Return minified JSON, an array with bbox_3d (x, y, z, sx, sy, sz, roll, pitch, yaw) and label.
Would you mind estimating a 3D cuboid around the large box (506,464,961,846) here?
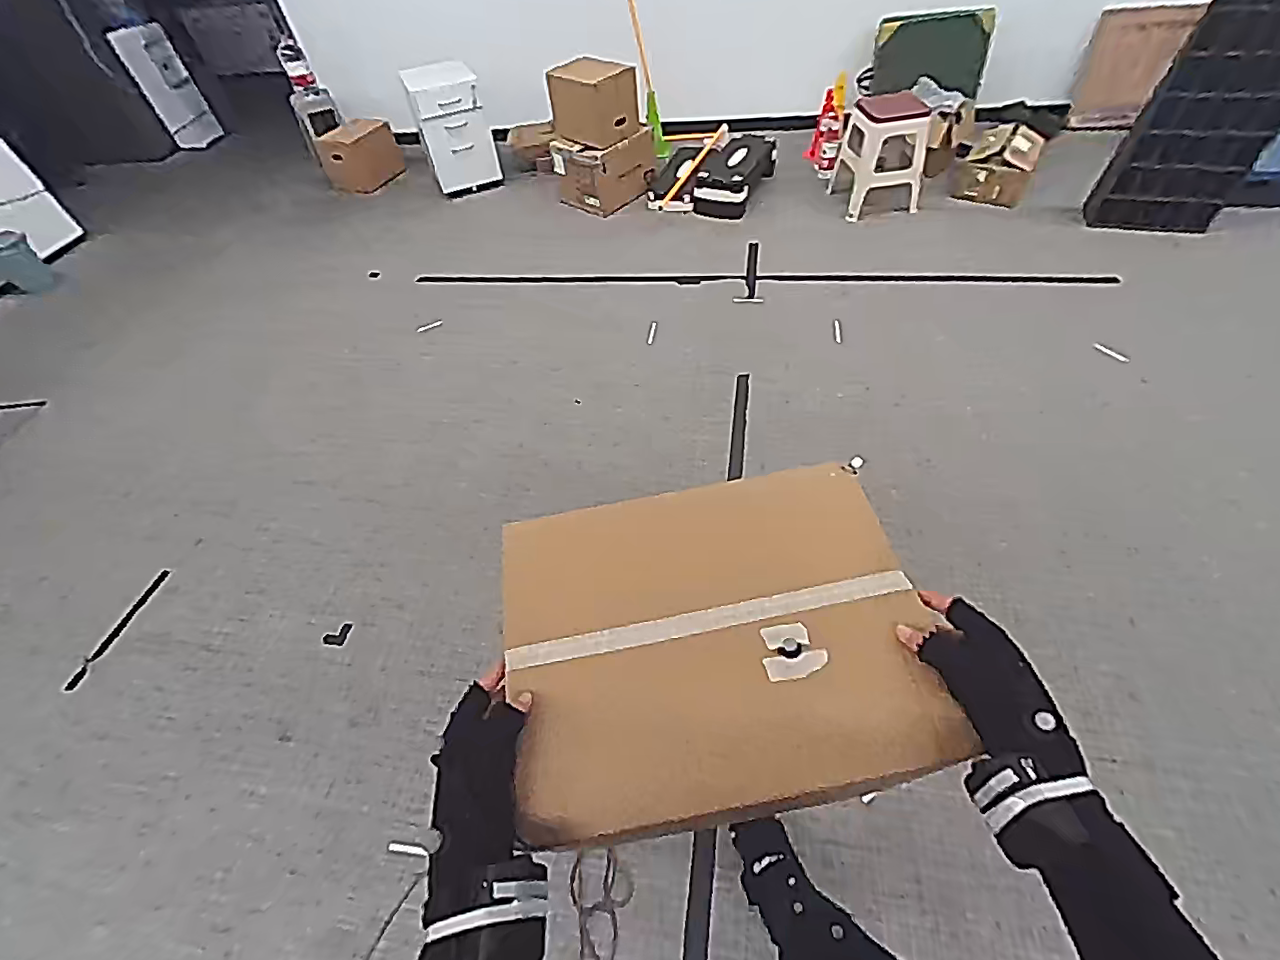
[{"bbox_3d":[0.076,0.226,0.672,0.408,0.320,0.320,-11,55,-2],"label":"large box"}]
